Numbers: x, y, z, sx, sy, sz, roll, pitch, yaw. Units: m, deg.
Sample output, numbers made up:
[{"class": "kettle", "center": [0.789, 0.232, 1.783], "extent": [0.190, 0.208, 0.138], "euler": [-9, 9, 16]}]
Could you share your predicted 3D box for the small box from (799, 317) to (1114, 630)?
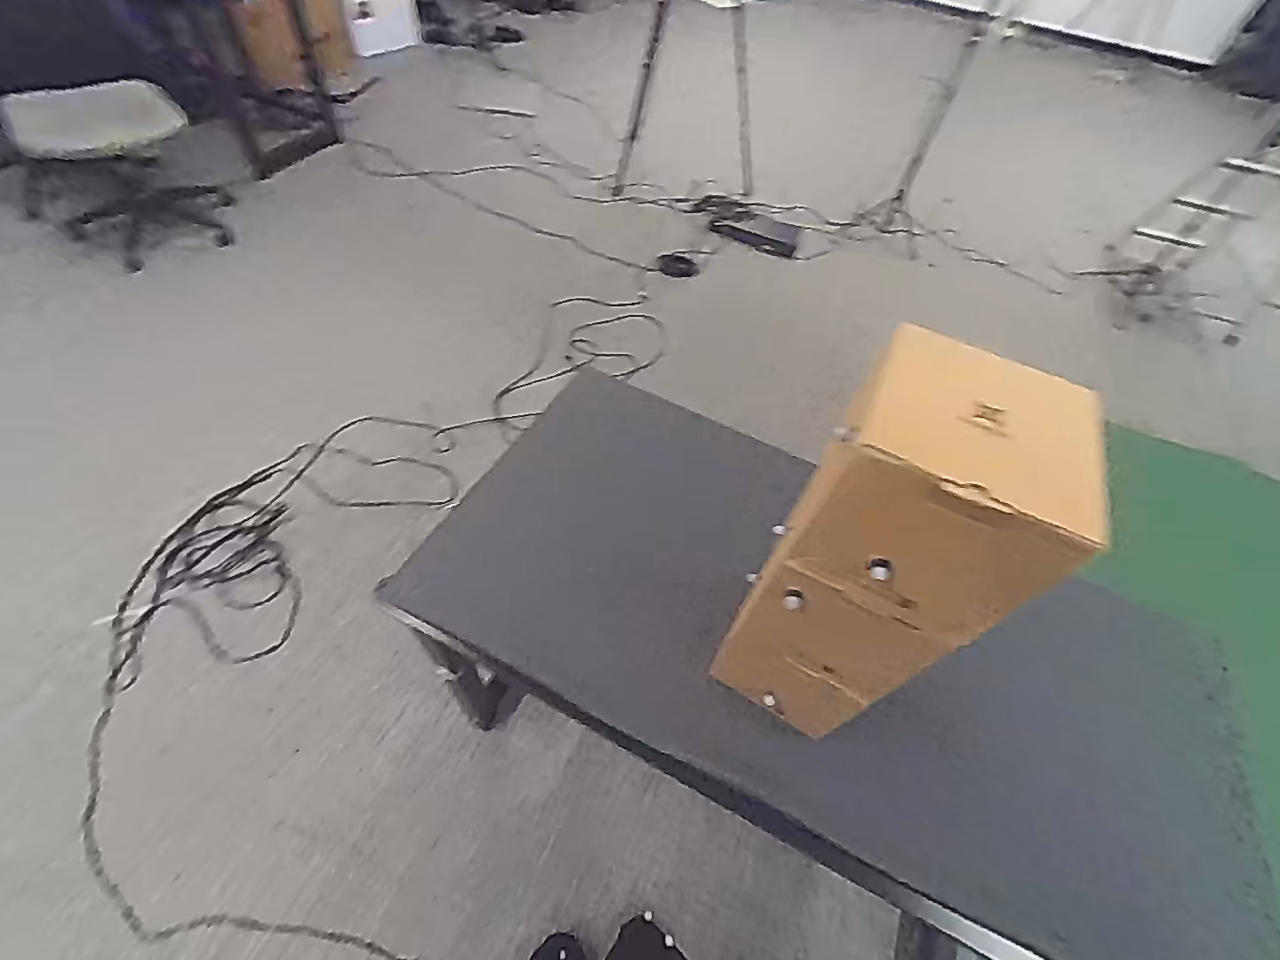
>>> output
[{"class": "small box", "center": [0.259, -0.004, 0.473], "extent": [0.168, 0.176, 0.179], "euler": [25, 53, 12]}]

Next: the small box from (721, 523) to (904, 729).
[{"class": "small box", "center": [0.226, 0.198, 0.728], "extent": [0.168, 0.176, 0.179], "euler": [28, 54, 15]}]
